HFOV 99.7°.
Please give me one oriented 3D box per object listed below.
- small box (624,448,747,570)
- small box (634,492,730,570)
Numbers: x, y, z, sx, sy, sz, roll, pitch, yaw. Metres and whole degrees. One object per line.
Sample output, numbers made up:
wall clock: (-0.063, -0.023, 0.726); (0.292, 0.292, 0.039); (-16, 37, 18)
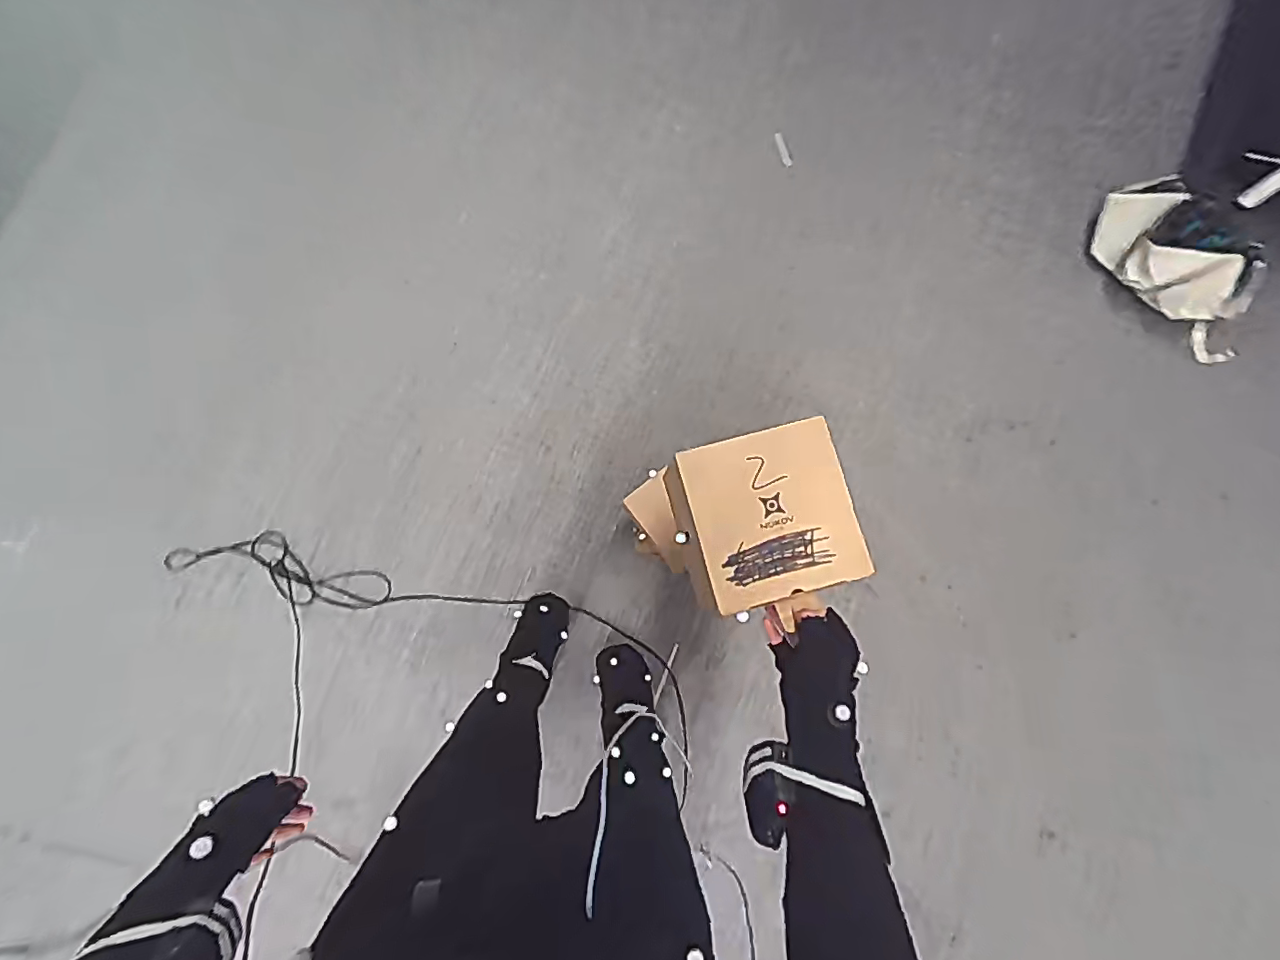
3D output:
small box: (0.081, 0.063, 1.079); (0.168, 0.176, 0.179); (-38, 86, -5)
small box: (0.089, 0.095, 1.224); (0.168, 0.176, 0.179); (17, 82, 1)
